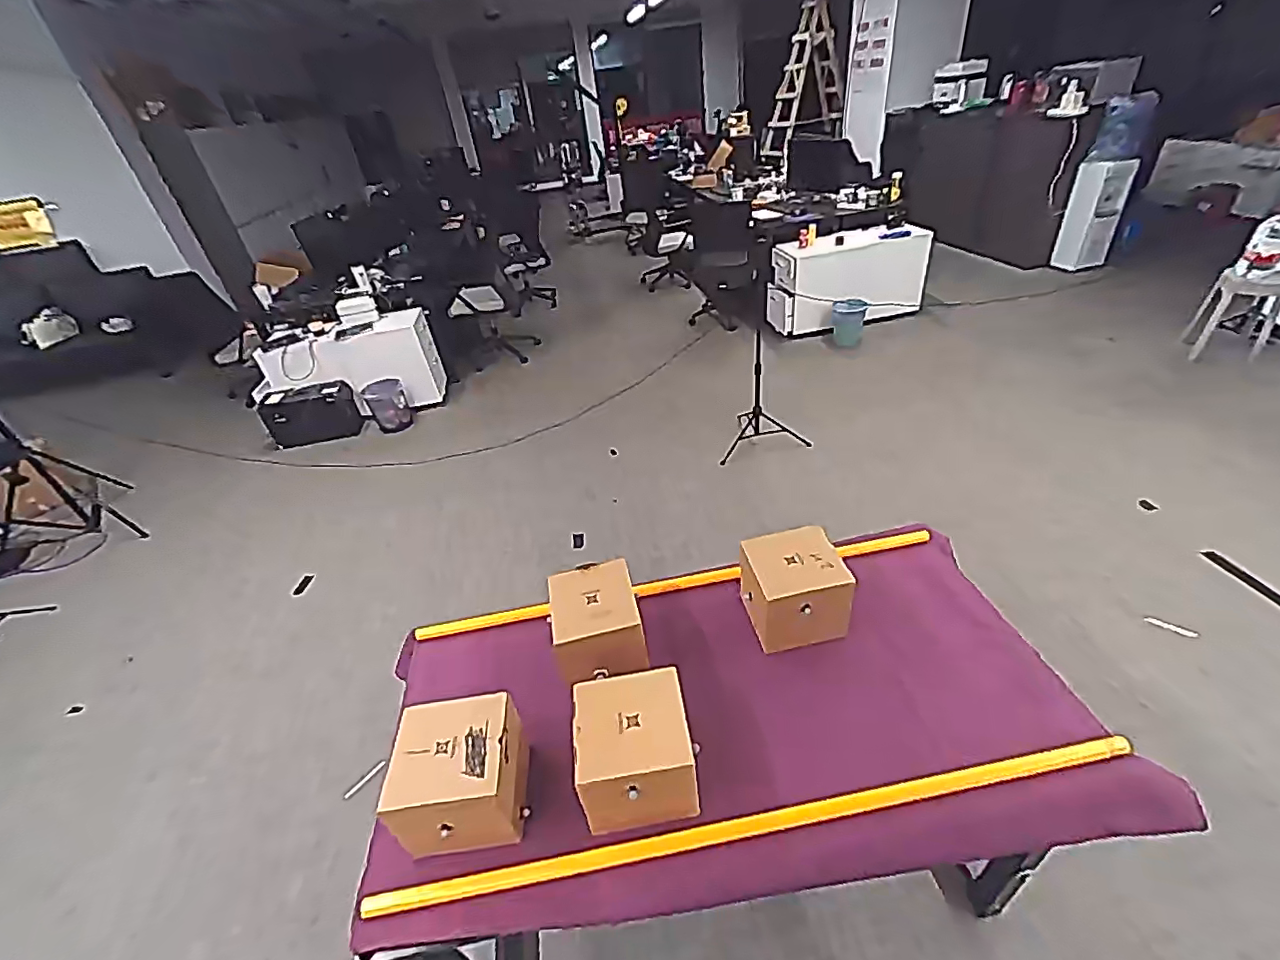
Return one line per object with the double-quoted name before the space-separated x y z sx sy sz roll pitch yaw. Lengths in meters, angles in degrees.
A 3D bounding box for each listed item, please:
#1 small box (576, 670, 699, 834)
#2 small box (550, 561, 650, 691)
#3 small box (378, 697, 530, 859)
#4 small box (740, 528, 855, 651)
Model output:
"small box" -0.003 0.441 0.878 0.179 0.176 0.168 -10 35 -1
"small box" -0.082 0.297 1.092 0.168 0.176 0.179 -13 37 -5
"small box" -0.283 0.481 0.875 0.179 0.176 0.168 -8 36 0
"small box" 0.313 0.226 1.105 0.179 0.176 0.168 -11 37 -3
